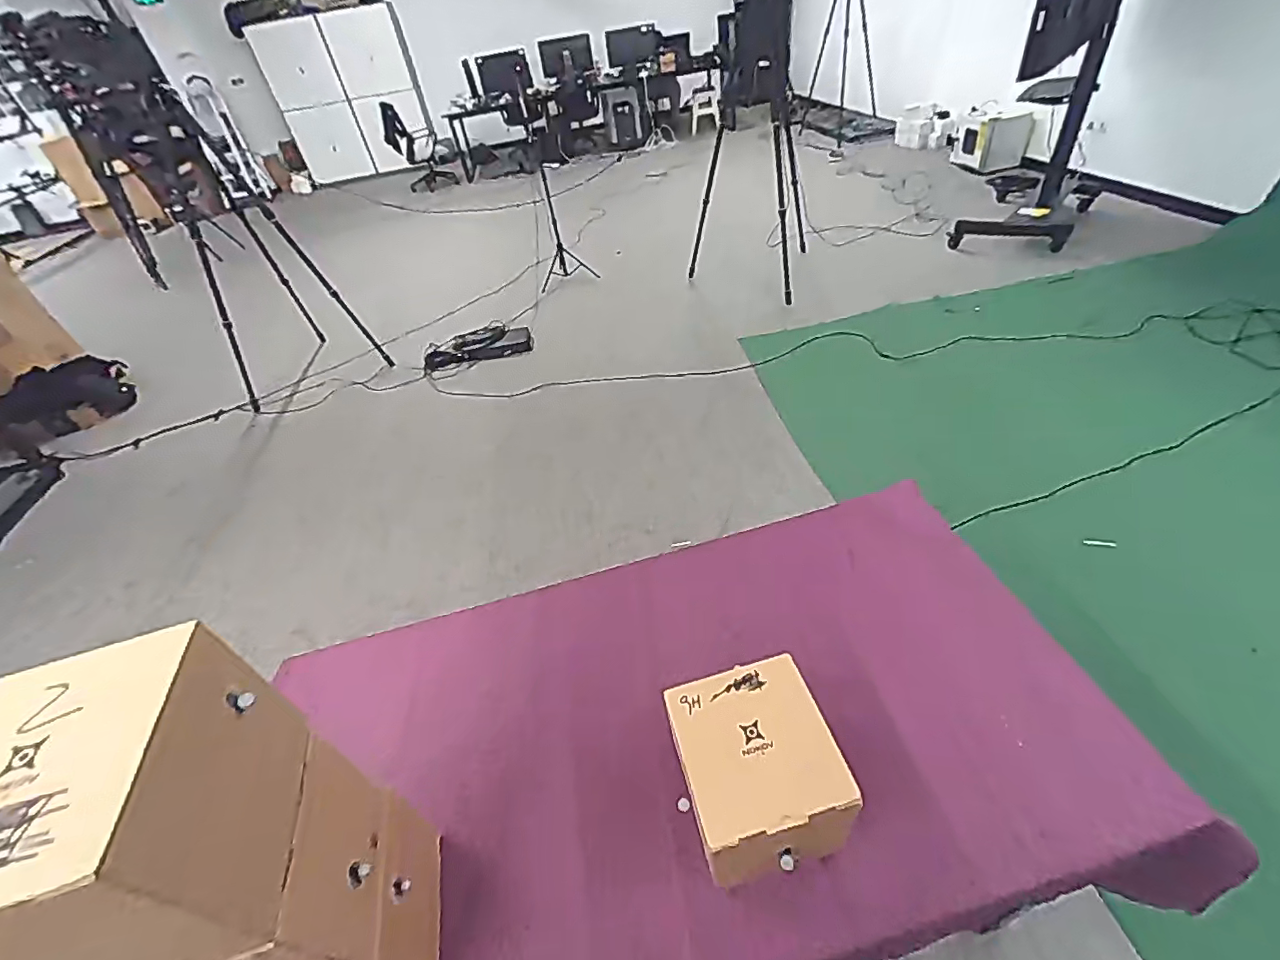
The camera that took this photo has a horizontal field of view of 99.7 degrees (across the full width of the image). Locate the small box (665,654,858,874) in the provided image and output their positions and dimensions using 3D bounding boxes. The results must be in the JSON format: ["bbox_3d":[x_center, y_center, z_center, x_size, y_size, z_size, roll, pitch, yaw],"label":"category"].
[{"bbox_3d":[0.137,0.348,0.656,0.168,0.176,0.179,-15,42,-5],"label":"small box"}]

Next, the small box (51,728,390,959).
[{"bbox_3d":[-0.355,0.366,0.494,0.179,0.176,0.168,-16,42,-8],"label":"small box"}]

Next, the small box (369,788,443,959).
[{"bbox_3d":[-0.330,0.485,0.601,0.168,0.176,0.179,-15,41,-6],"label":"small box"}]
